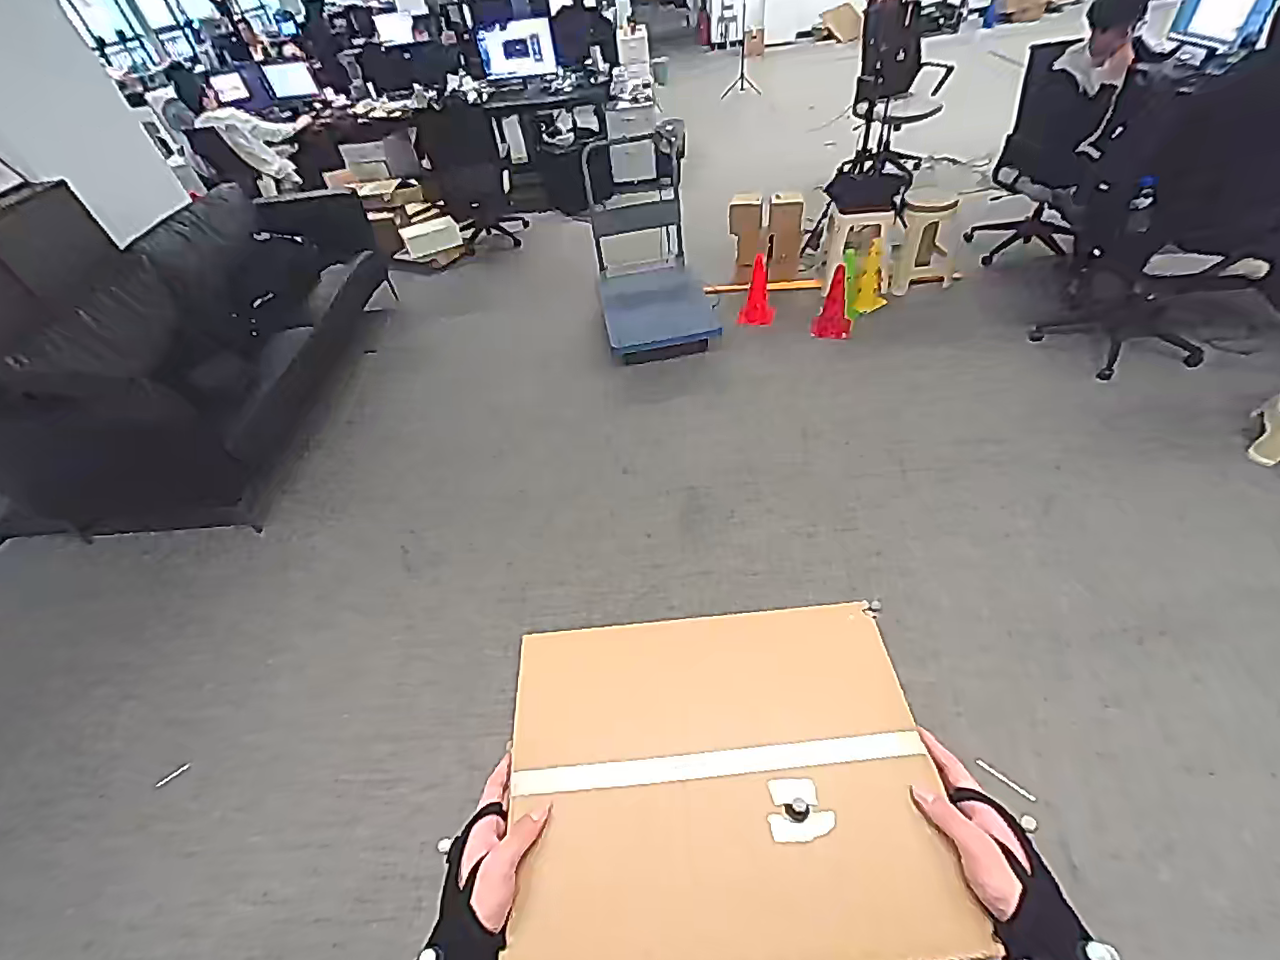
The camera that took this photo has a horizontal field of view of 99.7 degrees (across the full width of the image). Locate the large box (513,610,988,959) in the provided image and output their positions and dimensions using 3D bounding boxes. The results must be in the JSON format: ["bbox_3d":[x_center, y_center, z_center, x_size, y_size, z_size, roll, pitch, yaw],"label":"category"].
[{"bbox_3d":[0.086,0.388,0.648,0.408,0.320,0.320,-6,49,0],"label":"large box"}]
